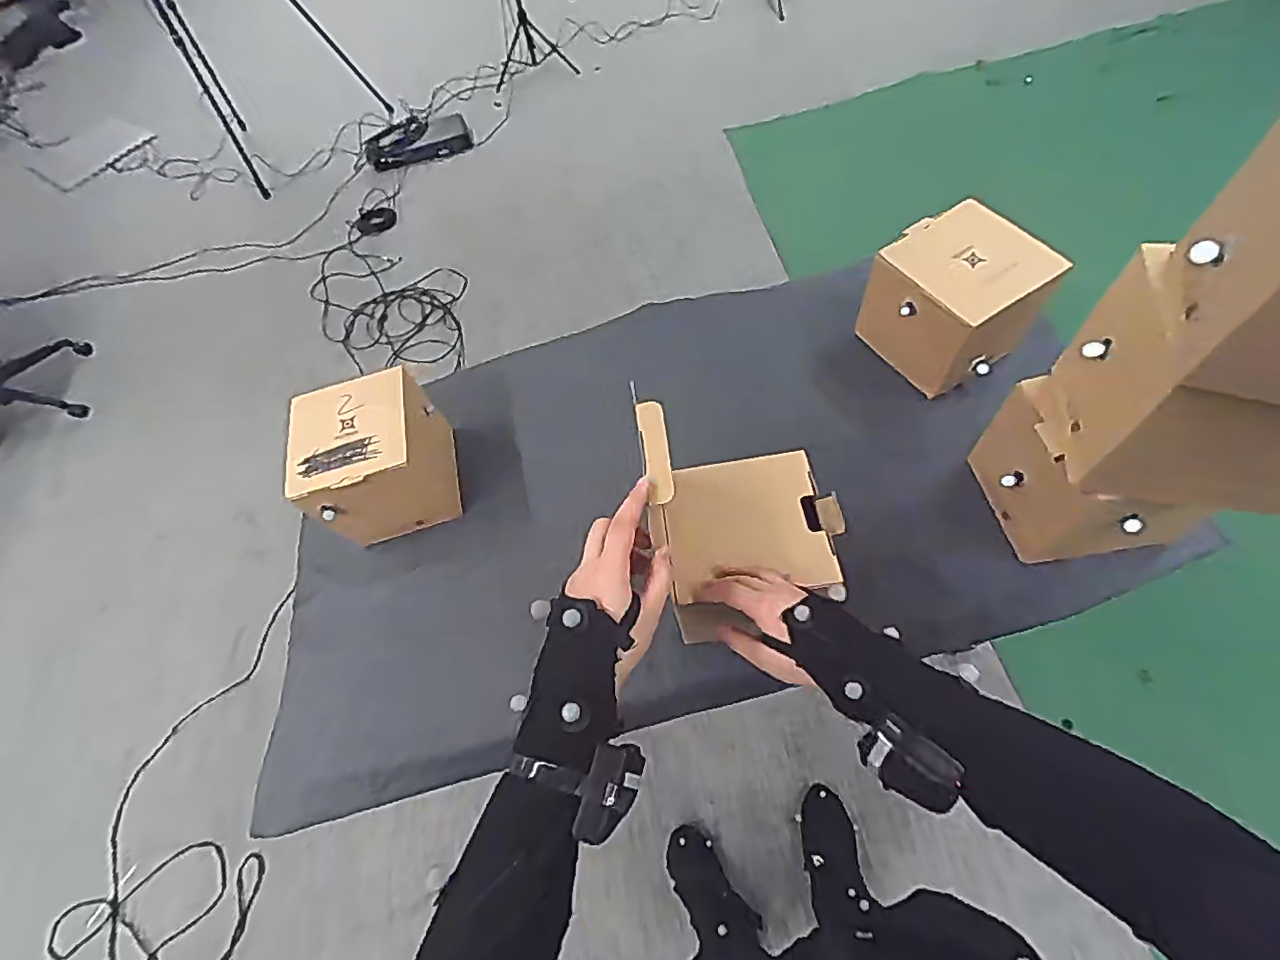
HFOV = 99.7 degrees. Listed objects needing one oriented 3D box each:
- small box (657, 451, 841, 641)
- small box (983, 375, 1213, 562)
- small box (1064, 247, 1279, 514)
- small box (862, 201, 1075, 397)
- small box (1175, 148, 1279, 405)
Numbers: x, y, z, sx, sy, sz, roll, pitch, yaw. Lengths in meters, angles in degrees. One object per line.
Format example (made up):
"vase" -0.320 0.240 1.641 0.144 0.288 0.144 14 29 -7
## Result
"small box" 0.124 0.089 0.654 0.179 0.176 0.168 -9 61 5
"small box" 0.542 -0.015 0.639 0.179 0.176 0.168 -10 58 5
"small box" 0.523 -0.085 0.492 0.179 0.176 0.168 9 61 14
"small box" 0.453 -0.255 0.784 0.168 0.176 0.179 -31 63 -5
"small box" 0.501 -0.148 0.339 0.179 0.176 0.168 18 64 19
